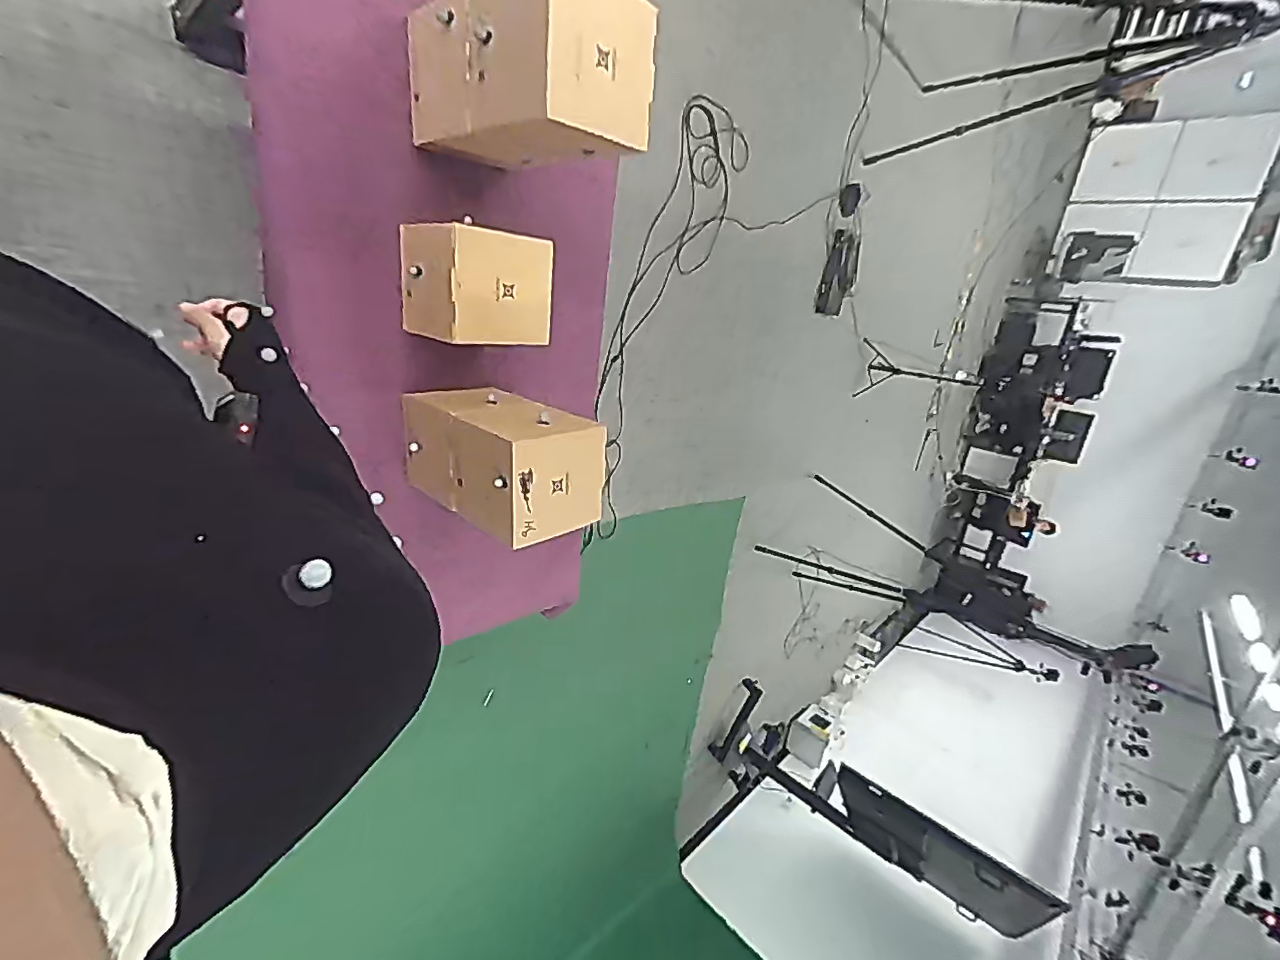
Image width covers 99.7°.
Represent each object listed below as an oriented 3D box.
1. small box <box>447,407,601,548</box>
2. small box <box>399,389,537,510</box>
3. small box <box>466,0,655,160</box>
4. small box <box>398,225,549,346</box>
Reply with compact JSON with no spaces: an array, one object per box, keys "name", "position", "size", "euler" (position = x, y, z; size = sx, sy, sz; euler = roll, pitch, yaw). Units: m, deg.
[{"name":"small box","position":[-0.185,-0.016,0.863],"size":[0.179,0.176,0.168],"euler":[-16,118,-45]},{"name":"small box","position":[-0.305,-0.064,0.964],"size":[0.179,0.176,0.168],"euler":[-14,117,-45]},{"name":"small box","position":[-0.106,-0.534,0.711],"size":[0.179,0.176,0.168],"euler":[-15,118,-45]},{"name":"small box","position":[-0.273,-0.316,0.886],"size":[0.179,0.176,0.168],"euler":[-13,117,-45]}]
